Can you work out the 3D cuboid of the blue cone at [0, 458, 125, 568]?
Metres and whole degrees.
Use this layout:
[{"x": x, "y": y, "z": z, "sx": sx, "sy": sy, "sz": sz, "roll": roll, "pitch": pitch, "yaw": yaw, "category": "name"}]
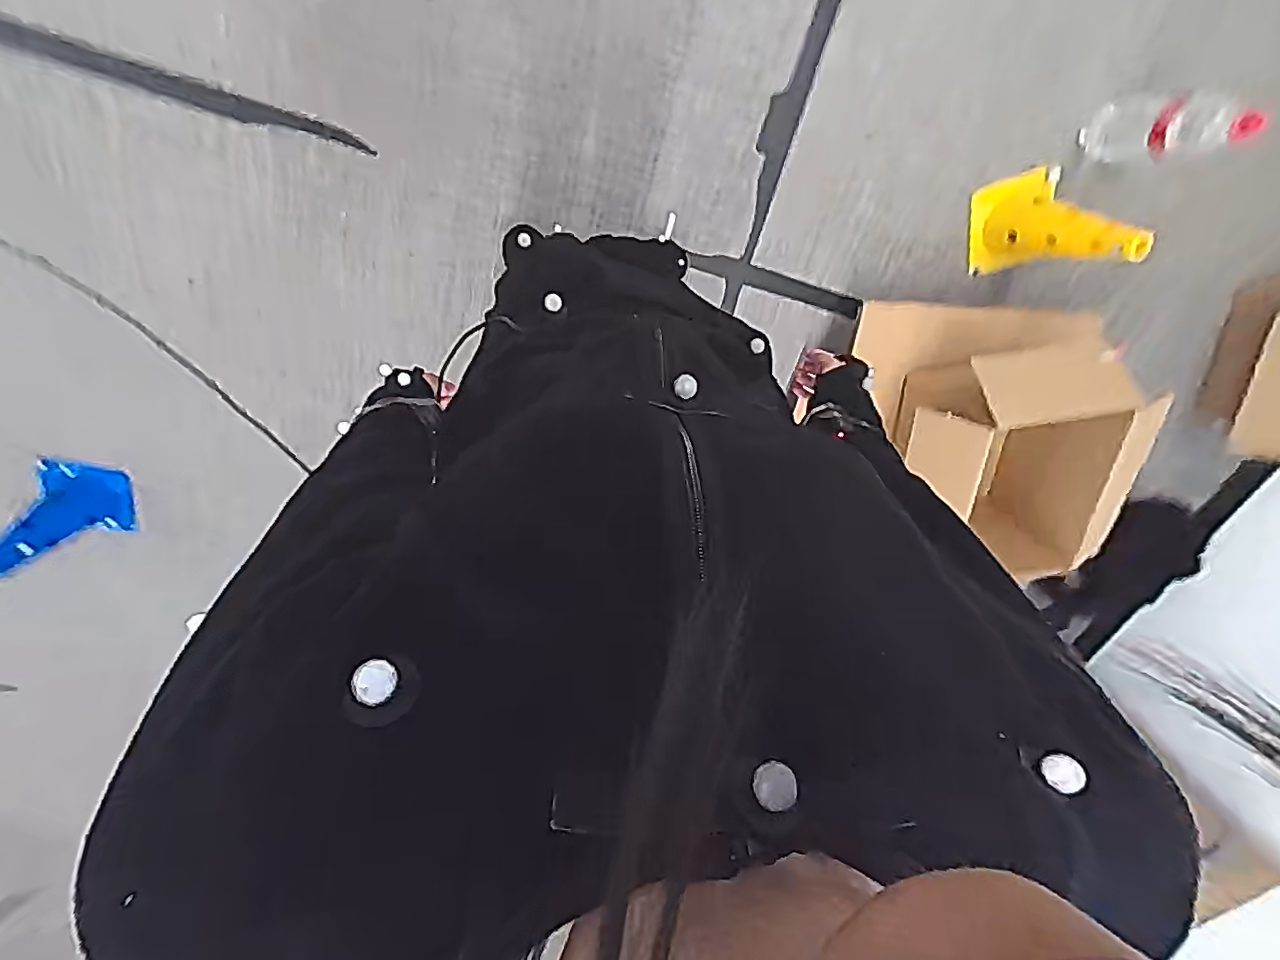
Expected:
[{"x": -1.430, "y": 0.123, "z": 1.258, "sx": 0.192, "sy": 0.380, "sz": 0.193, "roll": 15, "pitch": 118, "yaw": -16, "category": "blue cone"}]
